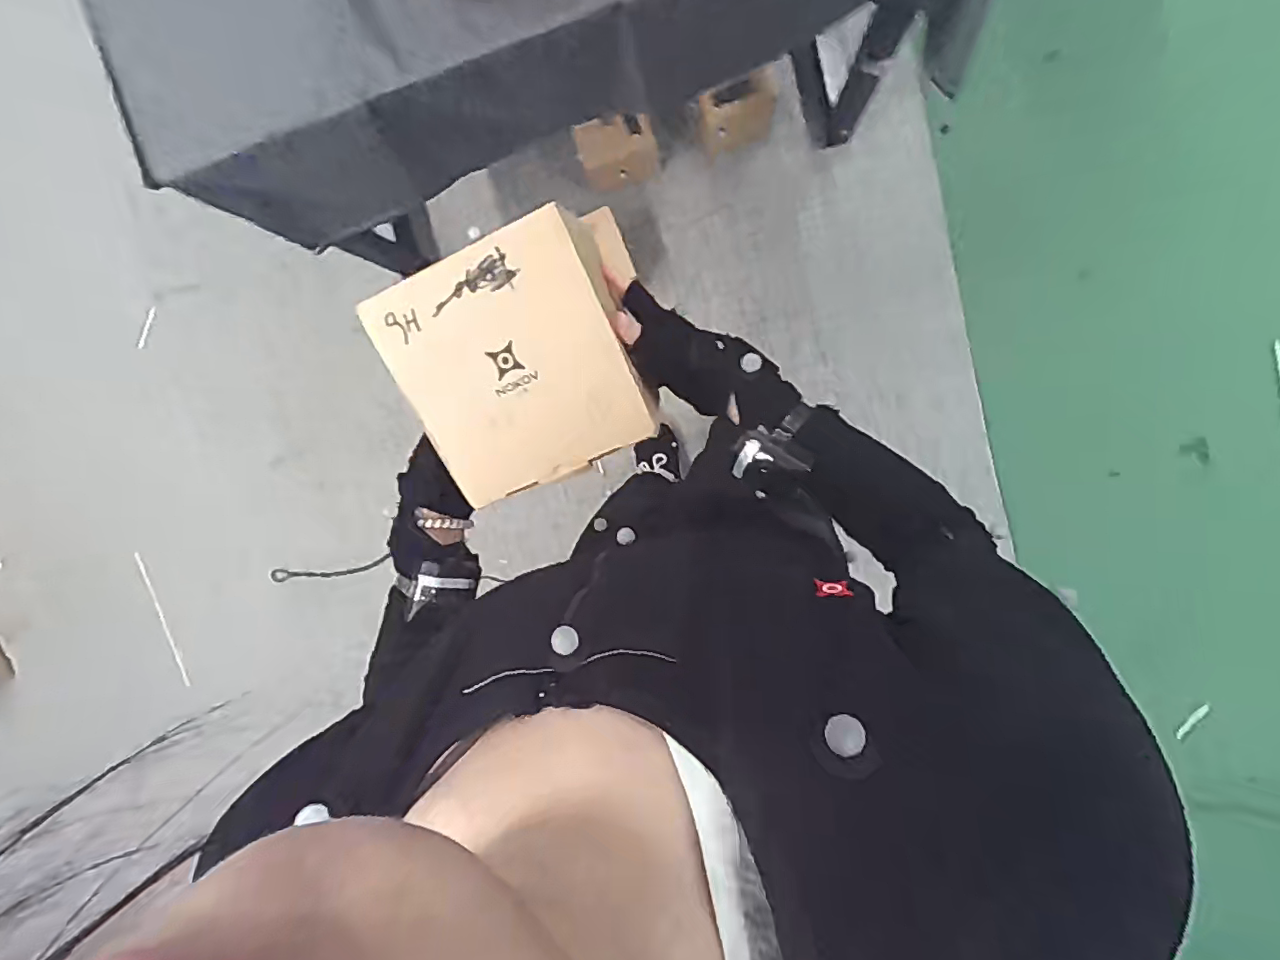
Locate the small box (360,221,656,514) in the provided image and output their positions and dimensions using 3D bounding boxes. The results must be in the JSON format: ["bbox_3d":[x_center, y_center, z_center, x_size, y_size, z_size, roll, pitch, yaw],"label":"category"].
[{"bbox_3d":[-0.091,-0.103,0.473,0.168,0.176,0.179,-22,110,9],"label":"small box"}]
